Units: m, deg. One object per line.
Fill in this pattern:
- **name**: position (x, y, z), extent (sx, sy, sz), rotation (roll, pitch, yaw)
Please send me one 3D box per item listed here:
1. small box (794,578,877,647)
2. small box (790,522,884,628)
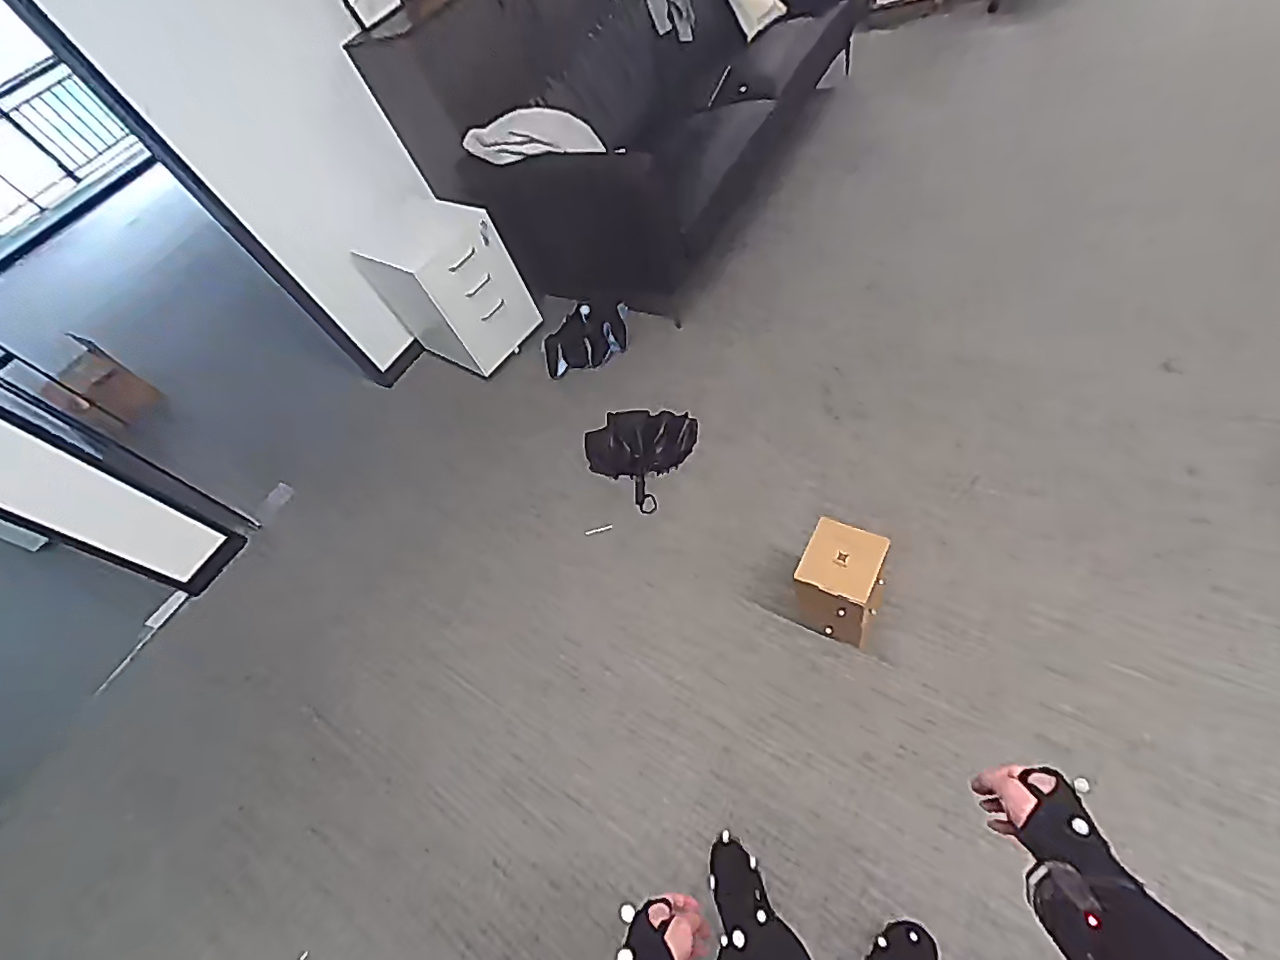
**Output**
- **small box**: position (0.527, 0.322, 1.451), extent (0.168, 0.176, 0.179), rotation (17, 64, 28)
- **small box**: position (0.480, 0.236, 1.322), extent (0.168, 0.176, 0.179), rotation (19, 64, 28)
